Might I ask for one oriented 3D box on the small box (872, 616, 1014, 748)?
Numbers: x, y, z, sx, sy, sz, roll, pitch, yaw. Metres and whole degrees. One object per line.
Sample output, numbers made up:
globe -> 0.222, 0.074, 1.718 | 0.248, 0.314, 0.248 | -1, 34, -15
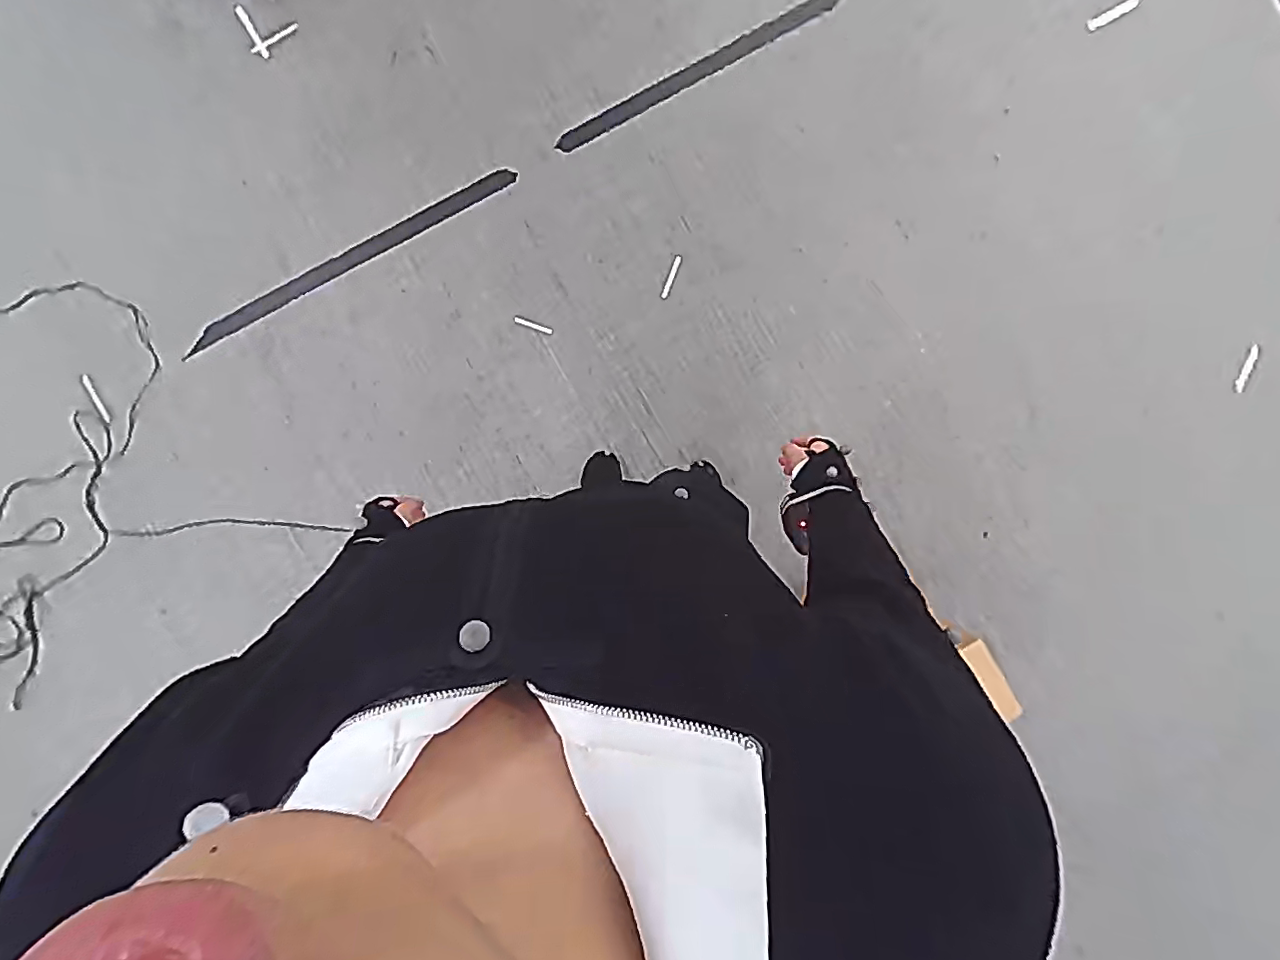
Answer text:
small box -> 0.638, 0.423, 1.159 | 0.168, 0.176, 0.179 | -30, 92, 2
